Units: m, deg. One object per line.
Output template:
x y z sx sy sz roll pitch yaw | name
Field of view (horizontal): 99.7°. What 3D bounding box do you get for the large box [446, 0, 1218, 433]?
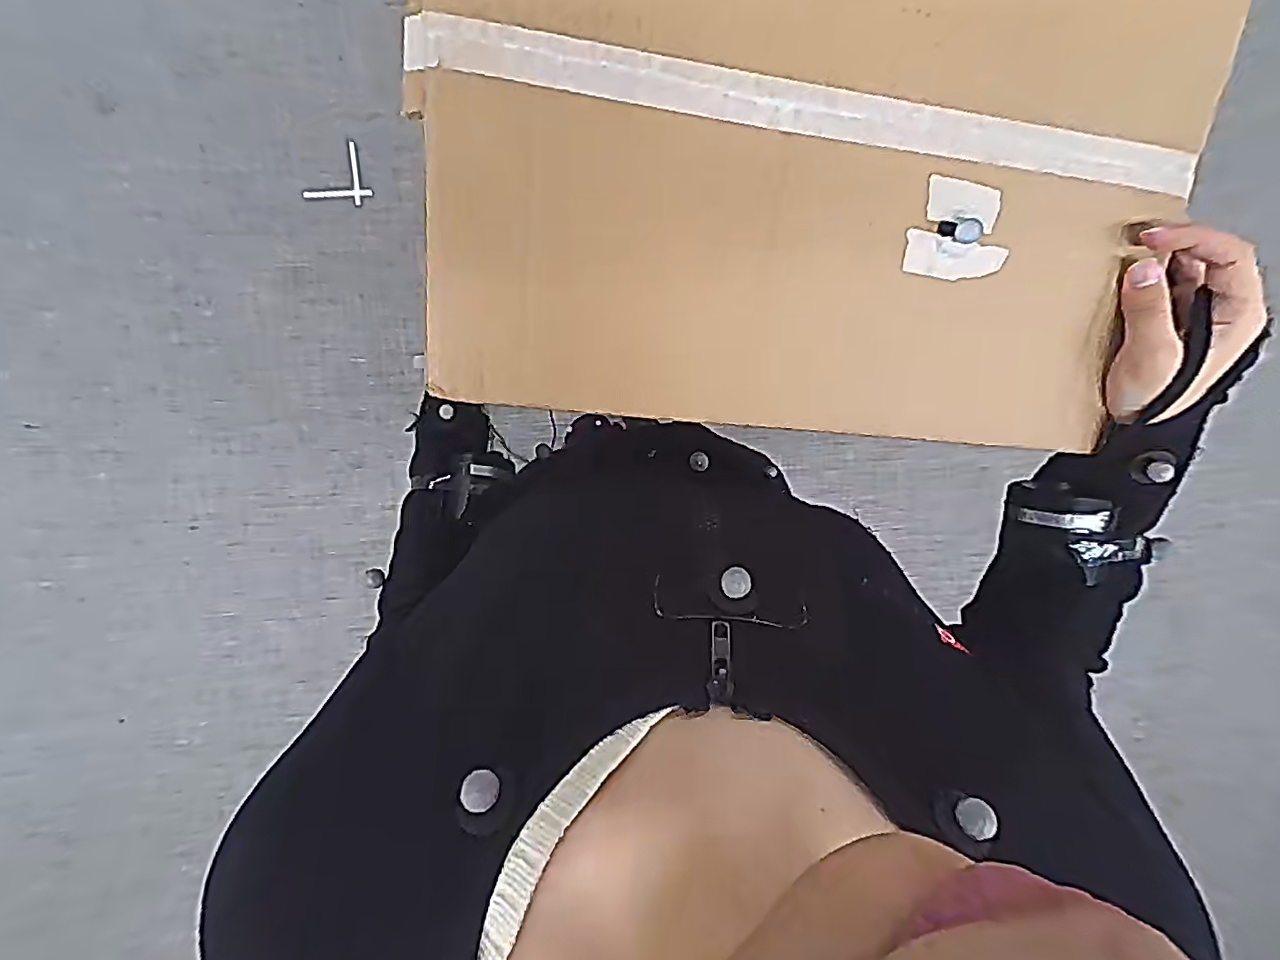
0.081 -0.224 0.420 0.408 0.320 0.320 3 106 -11 | large box
